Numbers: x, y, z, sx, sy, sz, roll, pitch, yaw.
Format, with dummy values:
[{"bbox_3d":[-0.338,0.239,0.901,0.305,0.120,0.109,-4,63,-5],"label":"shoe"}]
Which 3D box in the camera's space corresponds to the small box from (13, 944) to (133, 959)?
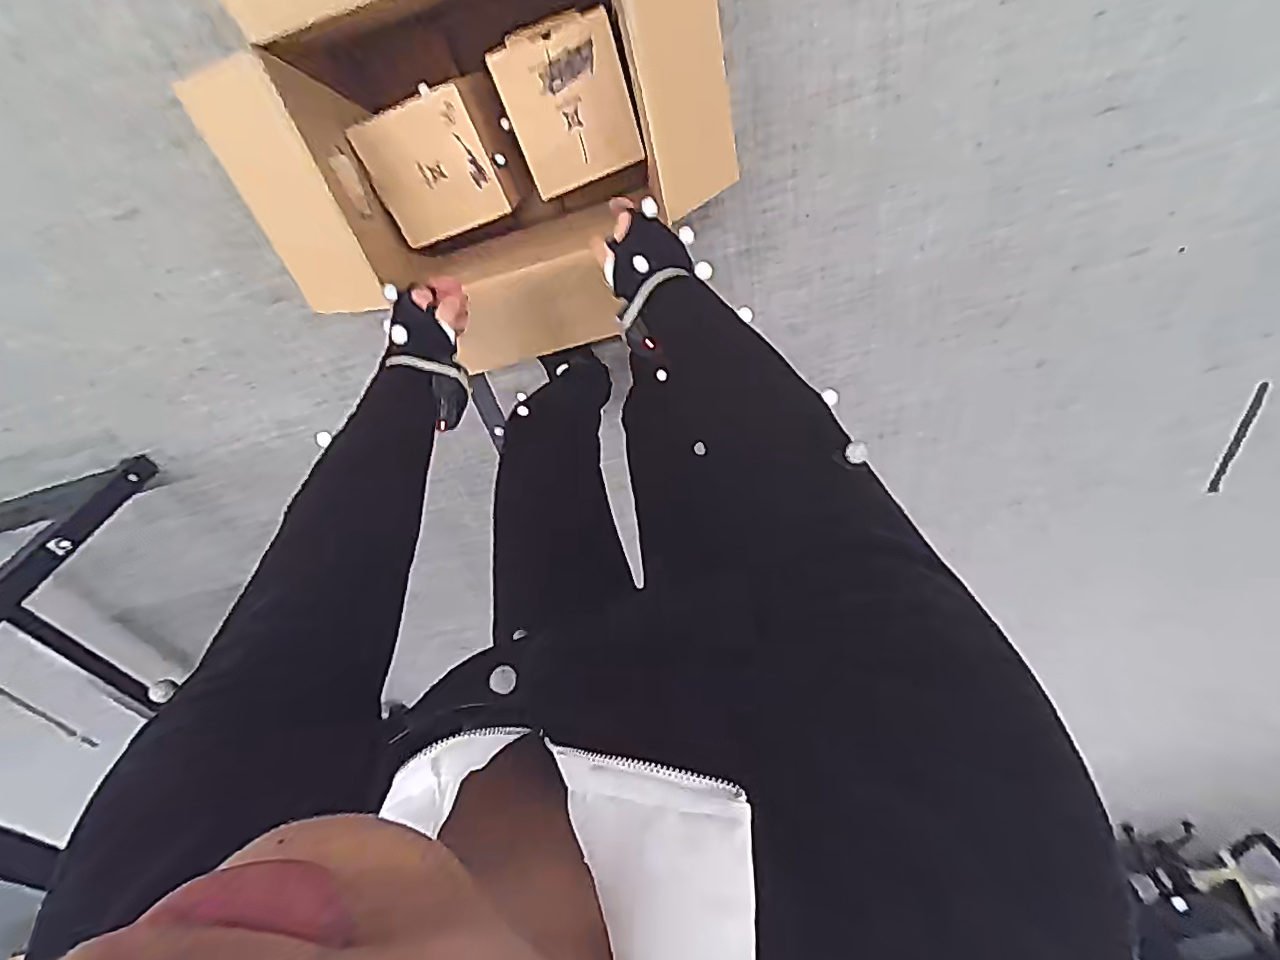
[{"bbox_3d":[-1.109,1.006,1.019,0.179,0.176,0.168,-13,127,5],"label":"small box"}]
